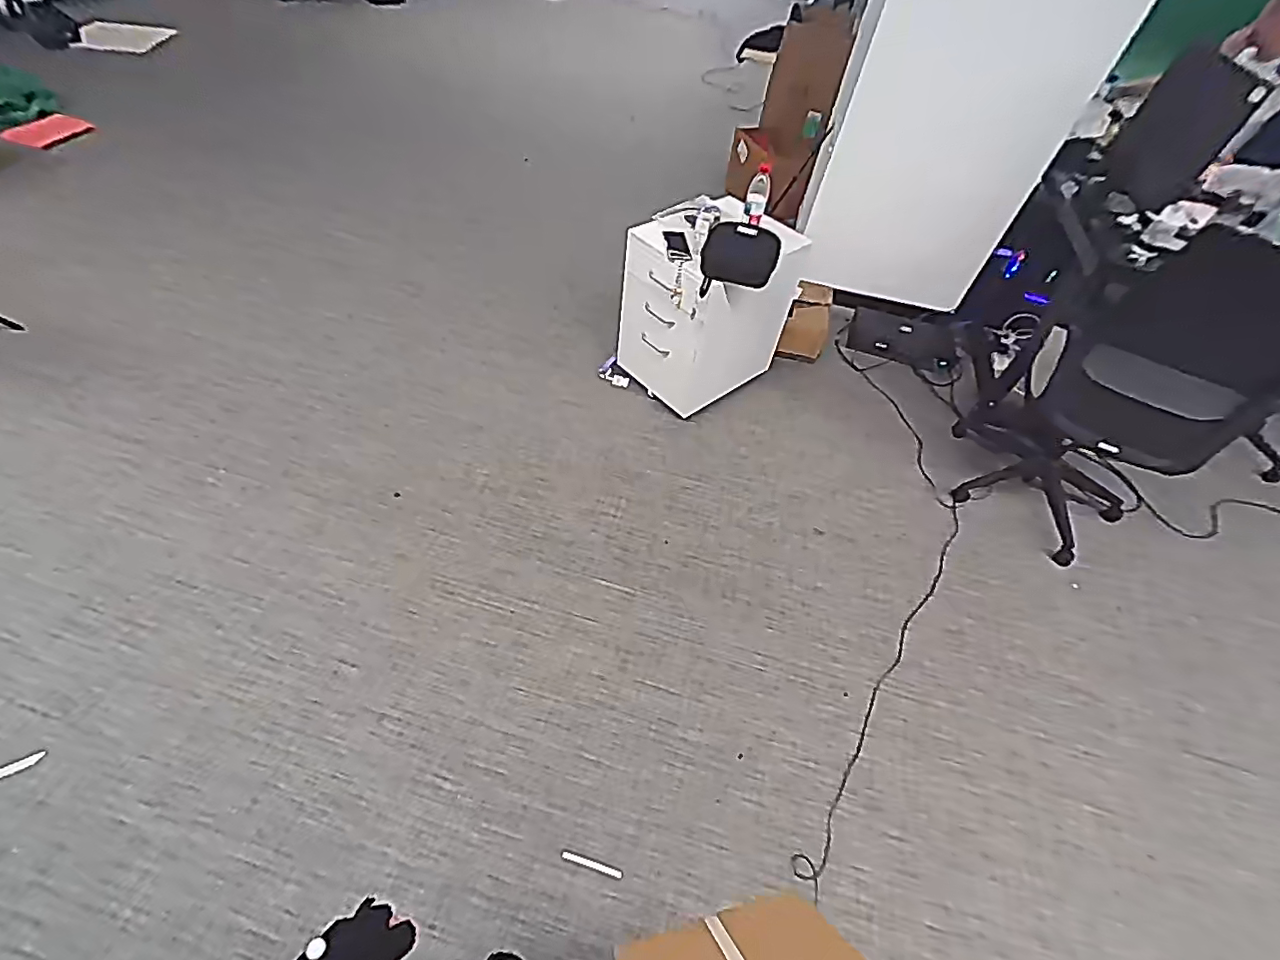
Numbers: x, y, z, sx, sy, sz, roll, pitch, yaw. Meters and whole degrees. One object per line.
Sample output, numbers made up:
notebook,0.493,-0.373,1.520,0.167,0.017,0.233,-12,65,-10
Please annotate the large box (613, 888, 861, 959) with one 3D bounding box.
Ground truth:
large box,0.176,0.796,0.637,0.320,0.408,0.320,-7,82,-16
